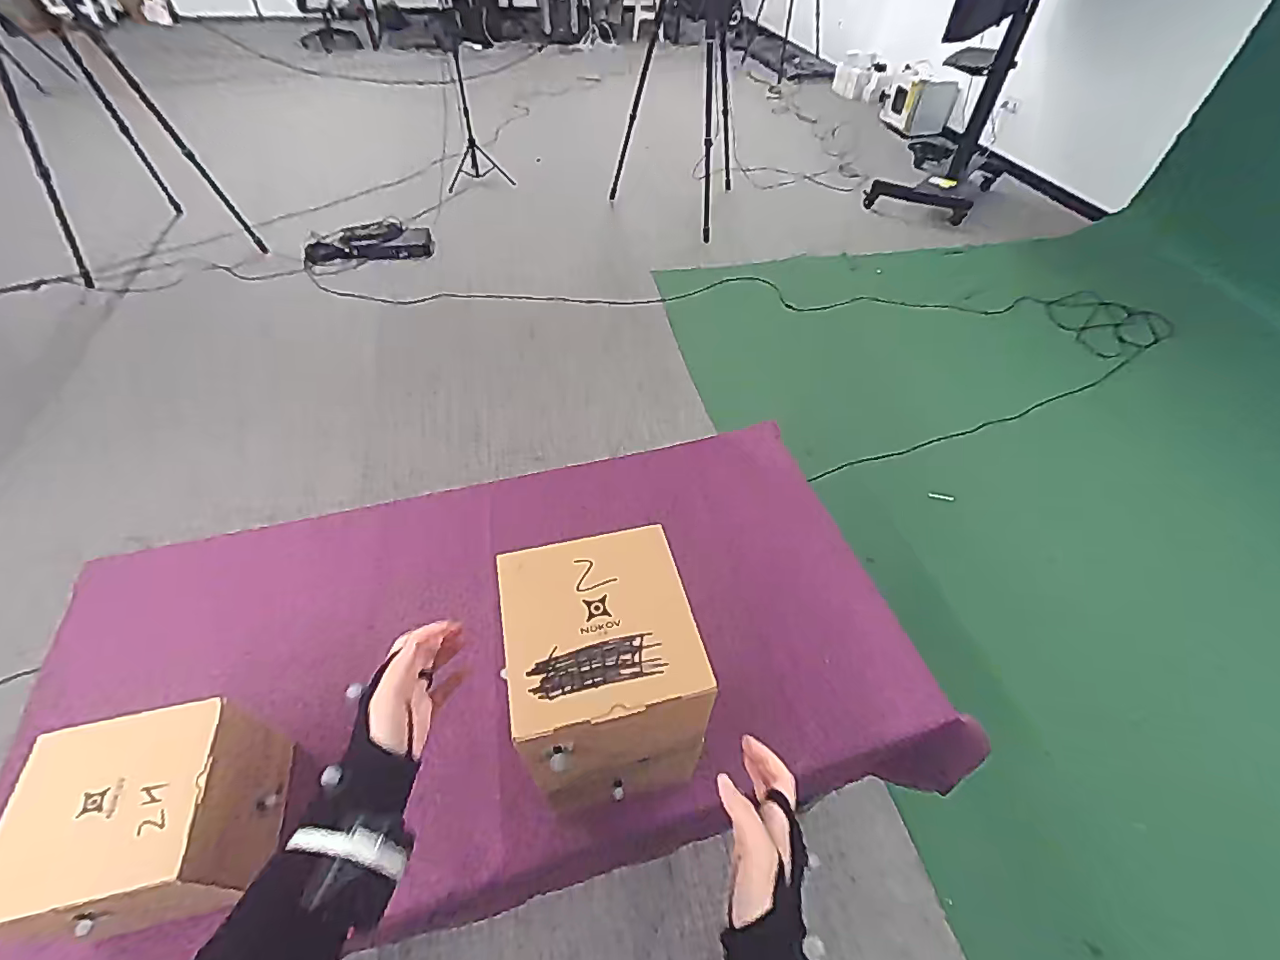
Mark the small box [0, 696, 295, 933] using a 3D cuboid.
[{"bbox_3d":[-0.512,0.359,0.579,0.179,0.176,0.168,-9,50,-10],"label":"small box"}]

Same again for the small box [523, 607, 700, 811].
[{"bbox_3d":[-0.039,0.281,0.662,0.179,0.176,0.168,-10,49,-9],"label":"small box"}]
